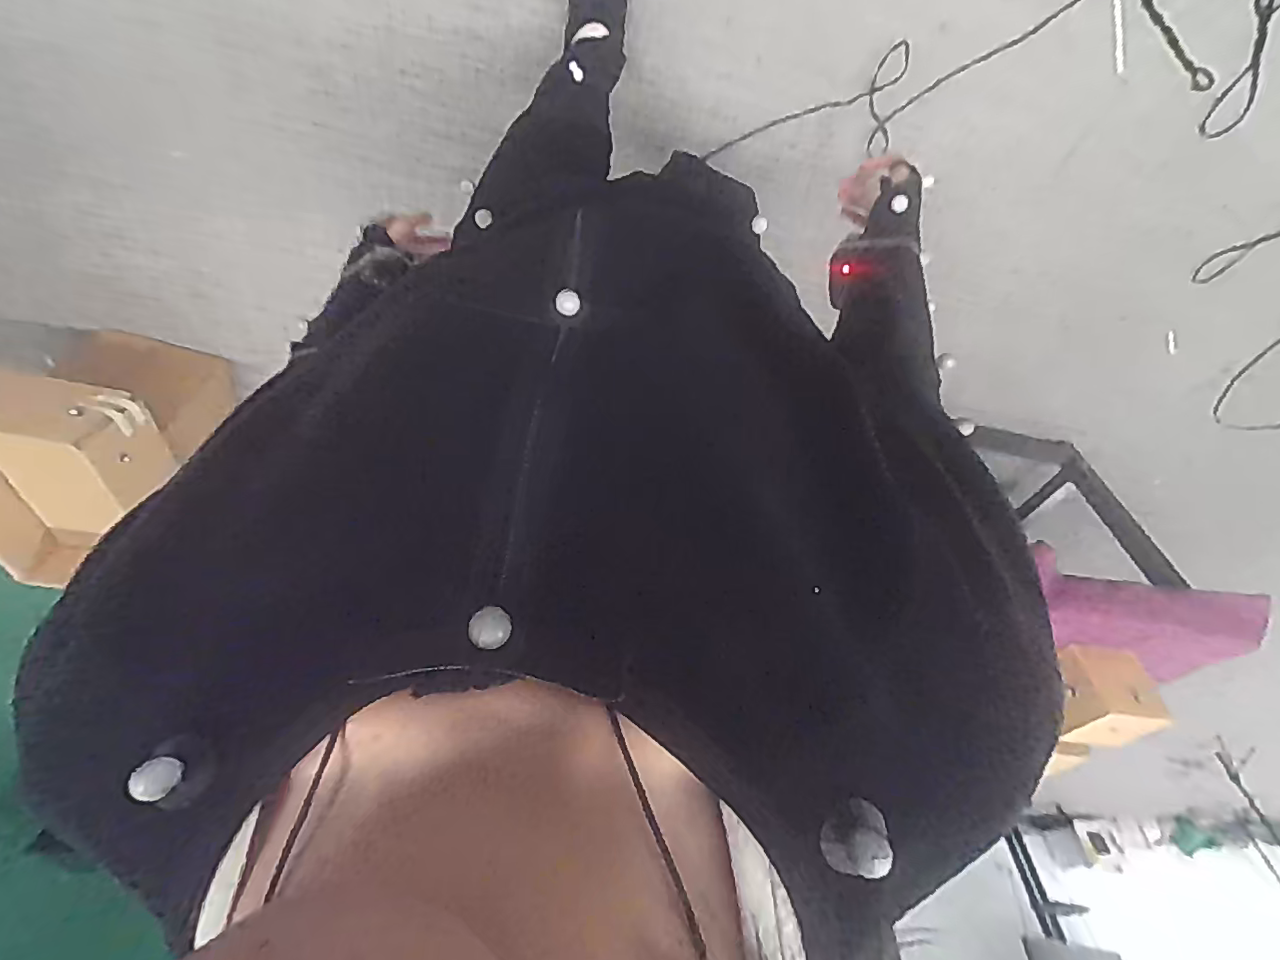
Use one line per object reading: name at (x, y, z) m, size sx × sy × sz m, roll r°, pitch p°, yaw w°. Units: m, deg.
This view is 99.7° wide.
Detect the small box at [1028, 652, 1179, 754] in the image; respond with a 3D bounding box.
small box at (1.080, 0.526, 1.281) m, size 0.179 × 0.176 × 0.168 m, roll 8°, pitch 134°, yaw -8°
